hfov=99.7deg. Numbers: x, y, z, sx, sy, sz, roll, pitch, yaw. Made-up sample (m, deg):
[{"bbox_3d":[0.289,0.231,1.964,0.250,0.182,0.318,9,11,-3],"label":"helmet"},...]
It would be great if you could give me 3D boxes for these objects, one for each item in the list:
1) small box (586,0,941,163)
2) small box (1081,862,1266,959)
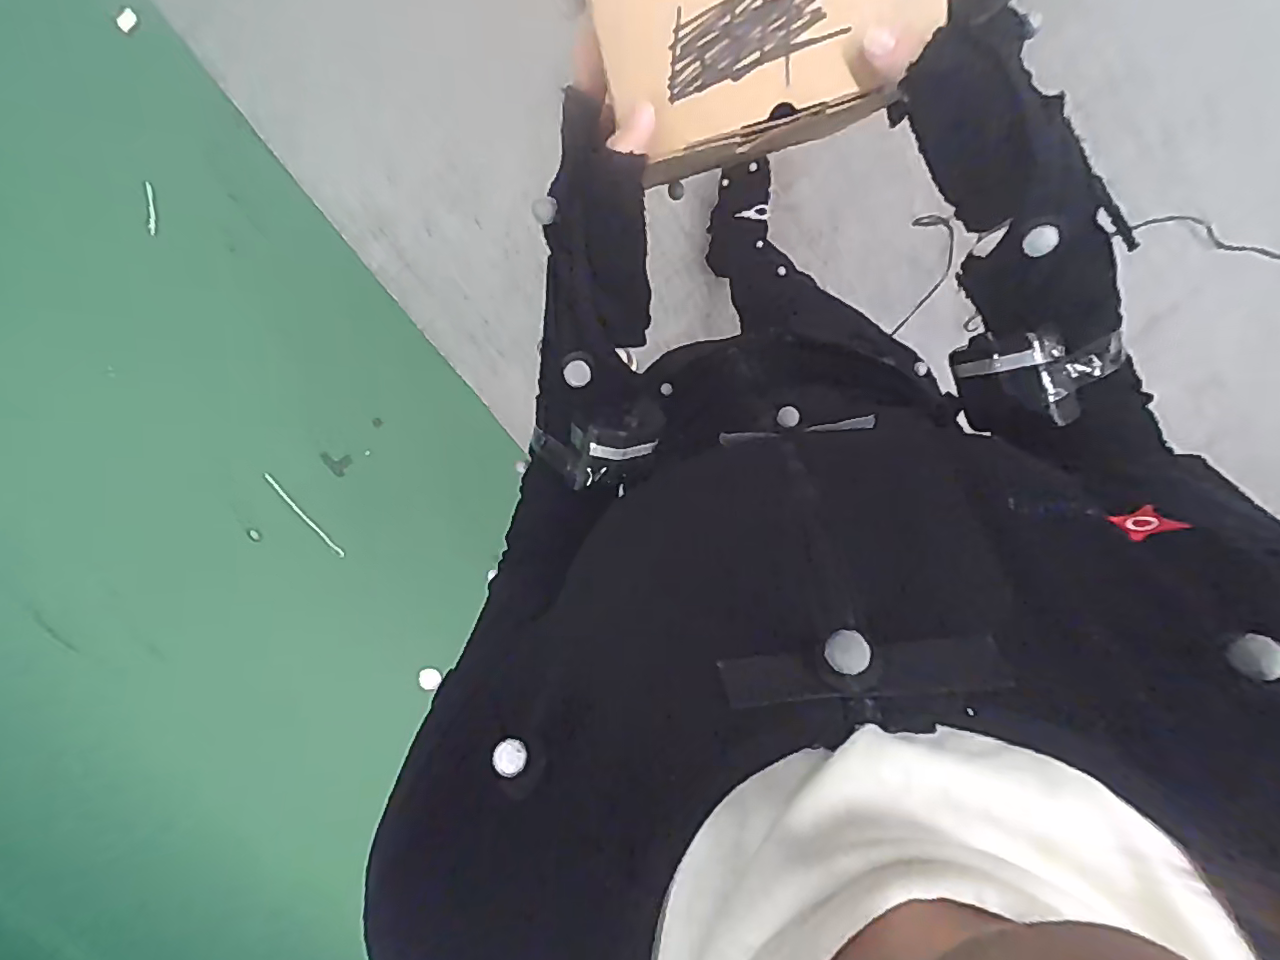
[{"bbox_3d":[0.049,-0.306,0.317,0.168,0.176,0.179,-16,115,9],"label":"small box"},{"bbox_3d":[0.830,0.738,0.830,0.179,0.176,0.168,-32,107,15],"label":"small box"}]
